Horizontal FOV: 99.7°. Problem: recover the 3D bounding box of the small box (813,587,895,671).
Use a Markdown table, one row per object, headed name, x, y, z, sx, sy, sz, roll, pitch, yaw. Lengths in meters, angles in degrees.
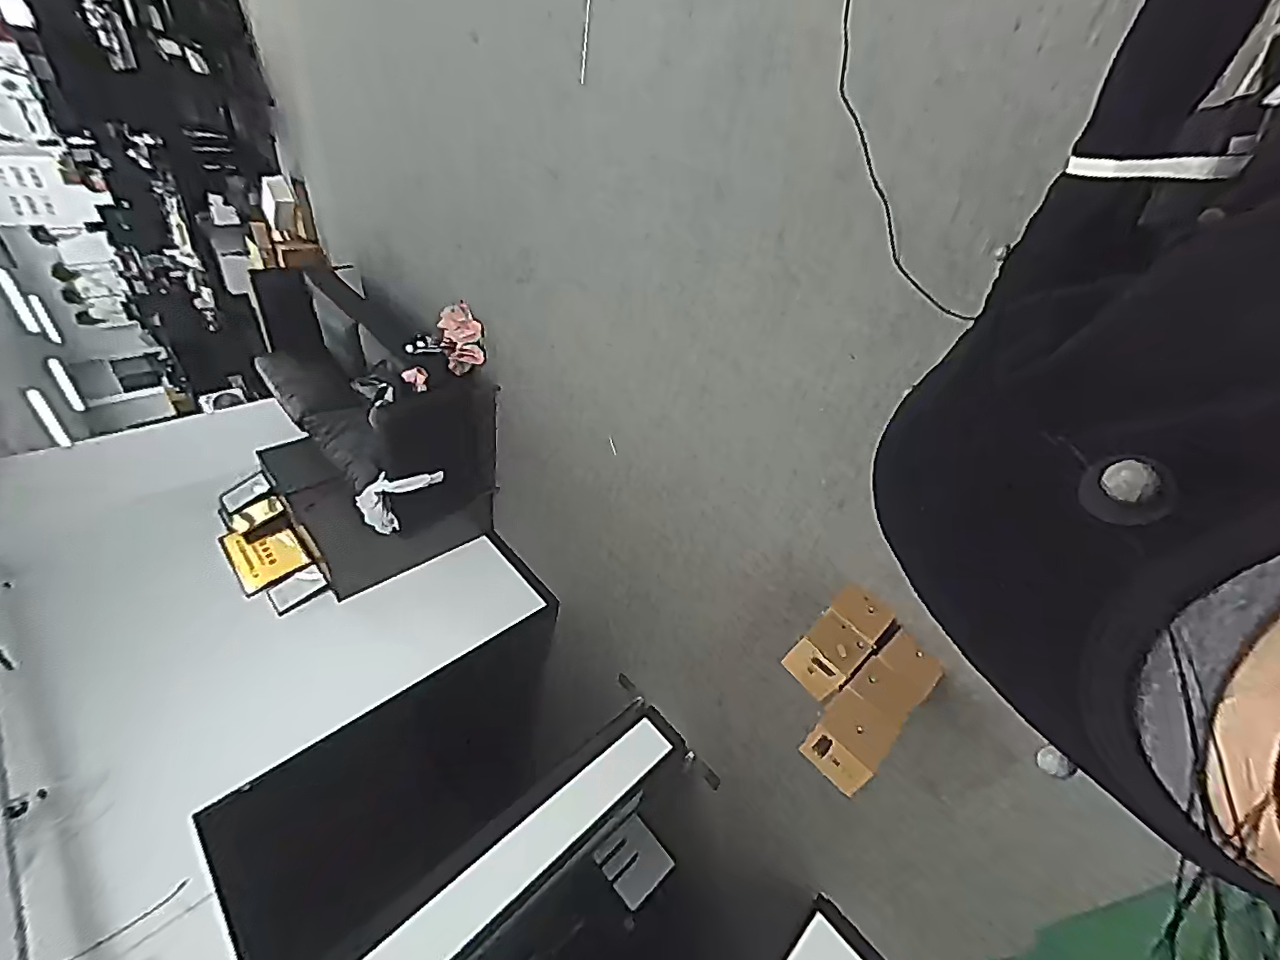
| name | x | y | z | sx | sy | sz | roll | pitch | yaw |
| --- | --- | --- | --- | --- | --- | --- | --- | --- | --- |
| small box | 0.720 | 0.497 | 1.816 | 0.168 | 0.176 | 0.179 | 40 | 136 | 29 |
